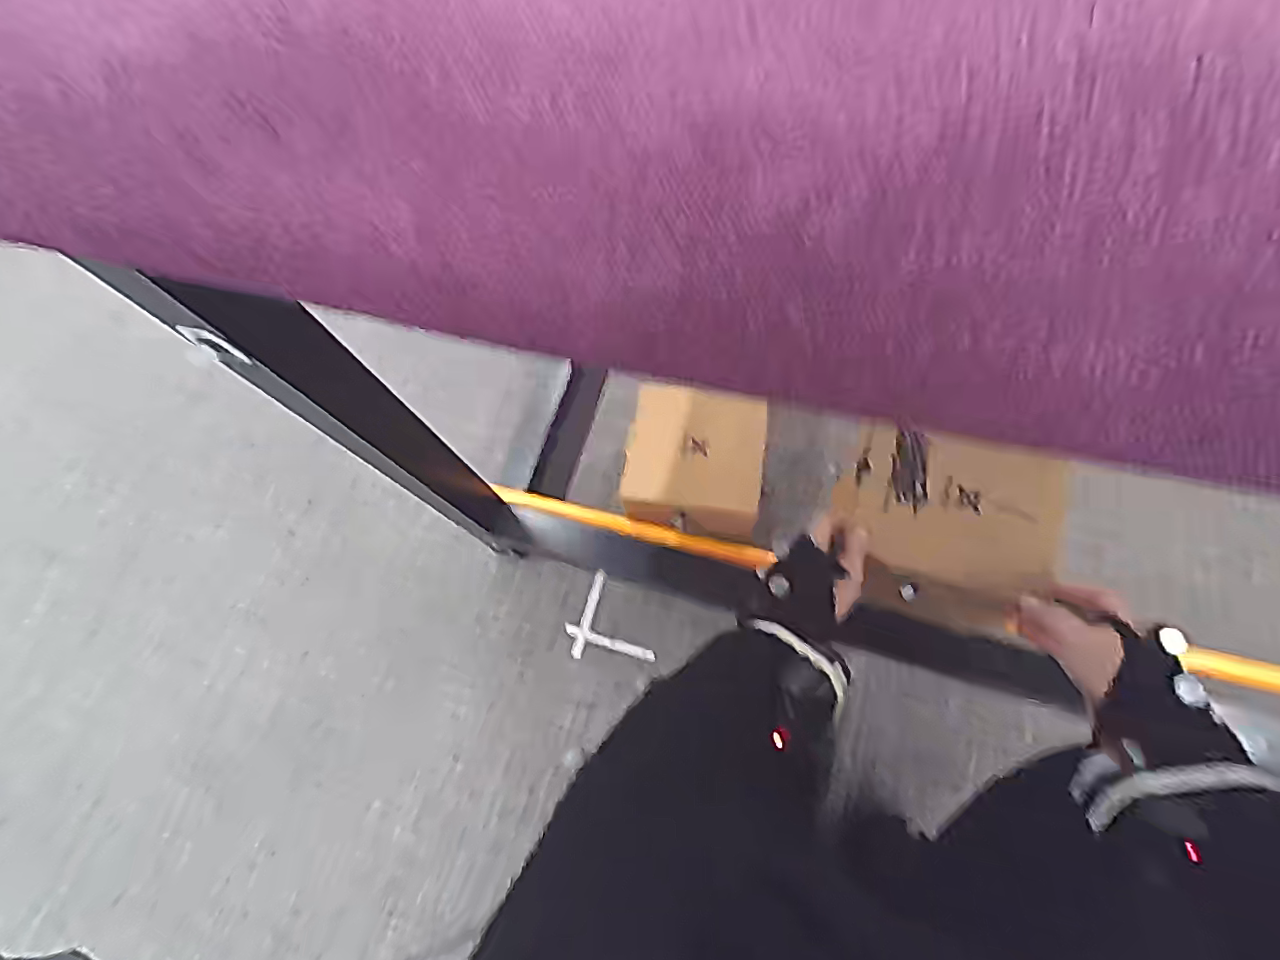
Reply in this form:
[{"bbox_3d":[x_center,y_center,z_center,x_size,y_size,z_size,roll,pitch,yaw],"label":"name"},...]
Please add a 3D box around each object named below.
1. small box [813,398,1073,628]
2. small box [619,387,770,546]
[{"bbox_3d":[0.298,0.044,0.566,0.179,0.176,0.168,19,72,12],"label":"small box"},{"bbox_3d":[0.081,-0.011,0.769,0.179,0.176,0.168,7,69,10],"label":"small box"}]
